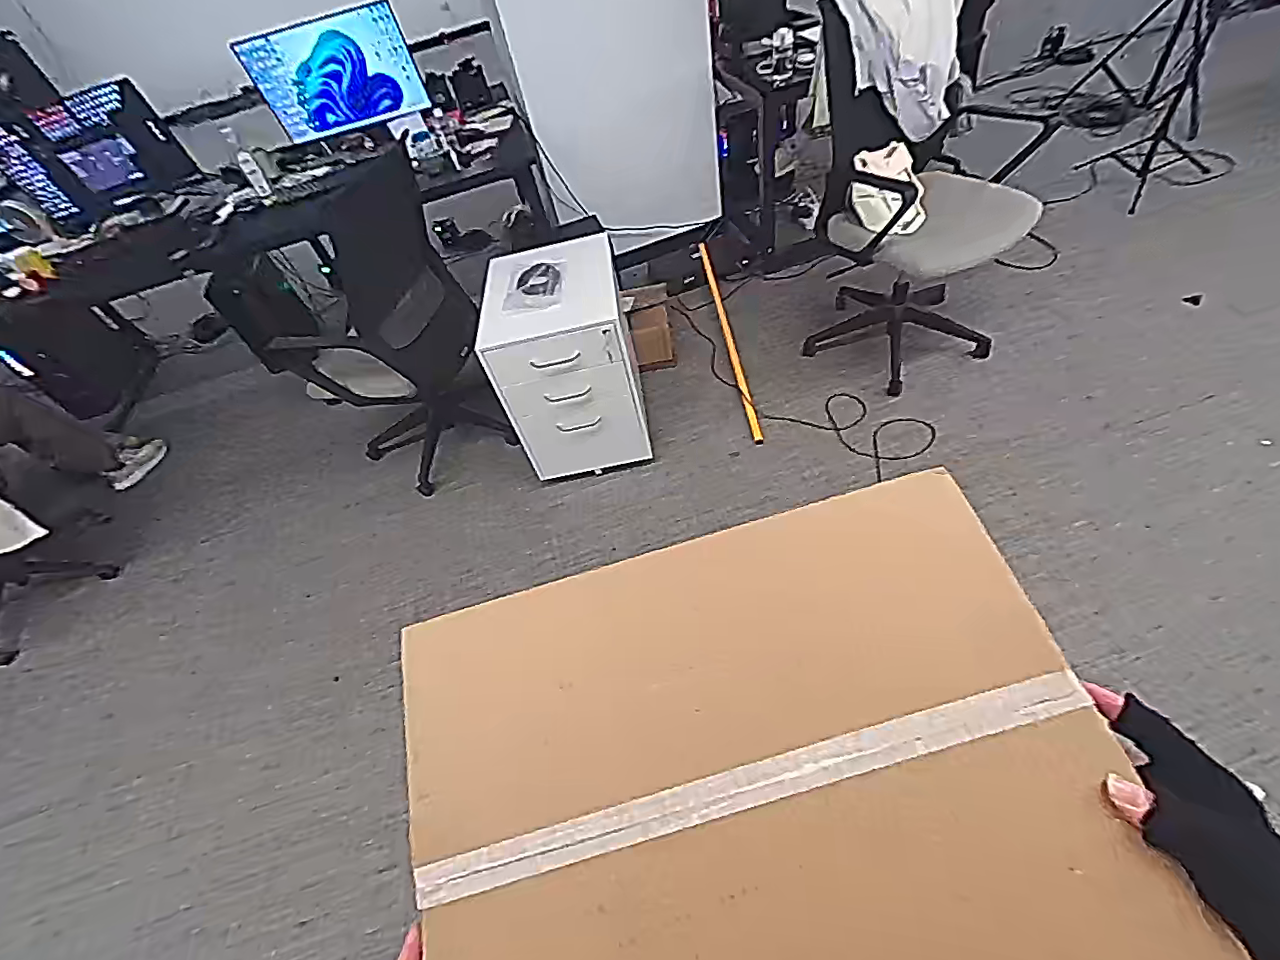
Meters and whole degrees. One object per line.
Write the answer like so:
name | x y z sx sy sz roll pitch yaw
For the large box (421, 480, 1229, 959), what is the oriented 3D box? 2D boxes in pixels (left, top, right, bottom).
large box | 0.087 0.253 0.458 0.408 0.320 0.320 -17 63 0
